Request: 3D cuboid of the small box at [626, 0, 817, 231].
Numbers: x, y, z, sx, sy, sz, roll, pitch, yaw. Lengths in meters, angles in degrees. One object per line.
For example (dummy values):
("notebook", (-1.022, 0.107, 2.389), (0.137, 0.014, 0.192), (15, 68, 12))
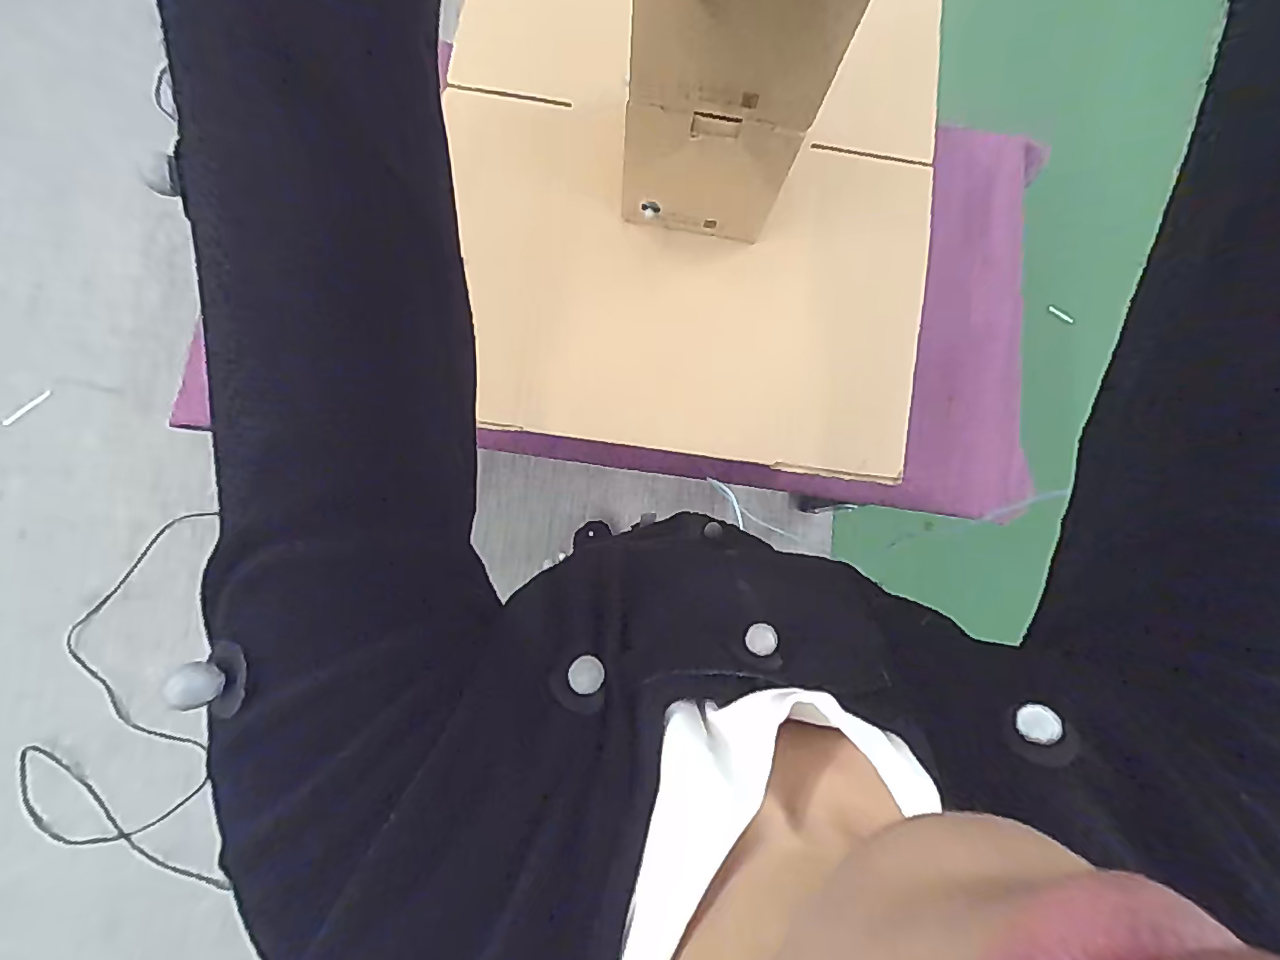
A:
("small box", (0.074, -0.392, 0.569), (0.168, 0.176, 0.179), (5, 83, -3))
